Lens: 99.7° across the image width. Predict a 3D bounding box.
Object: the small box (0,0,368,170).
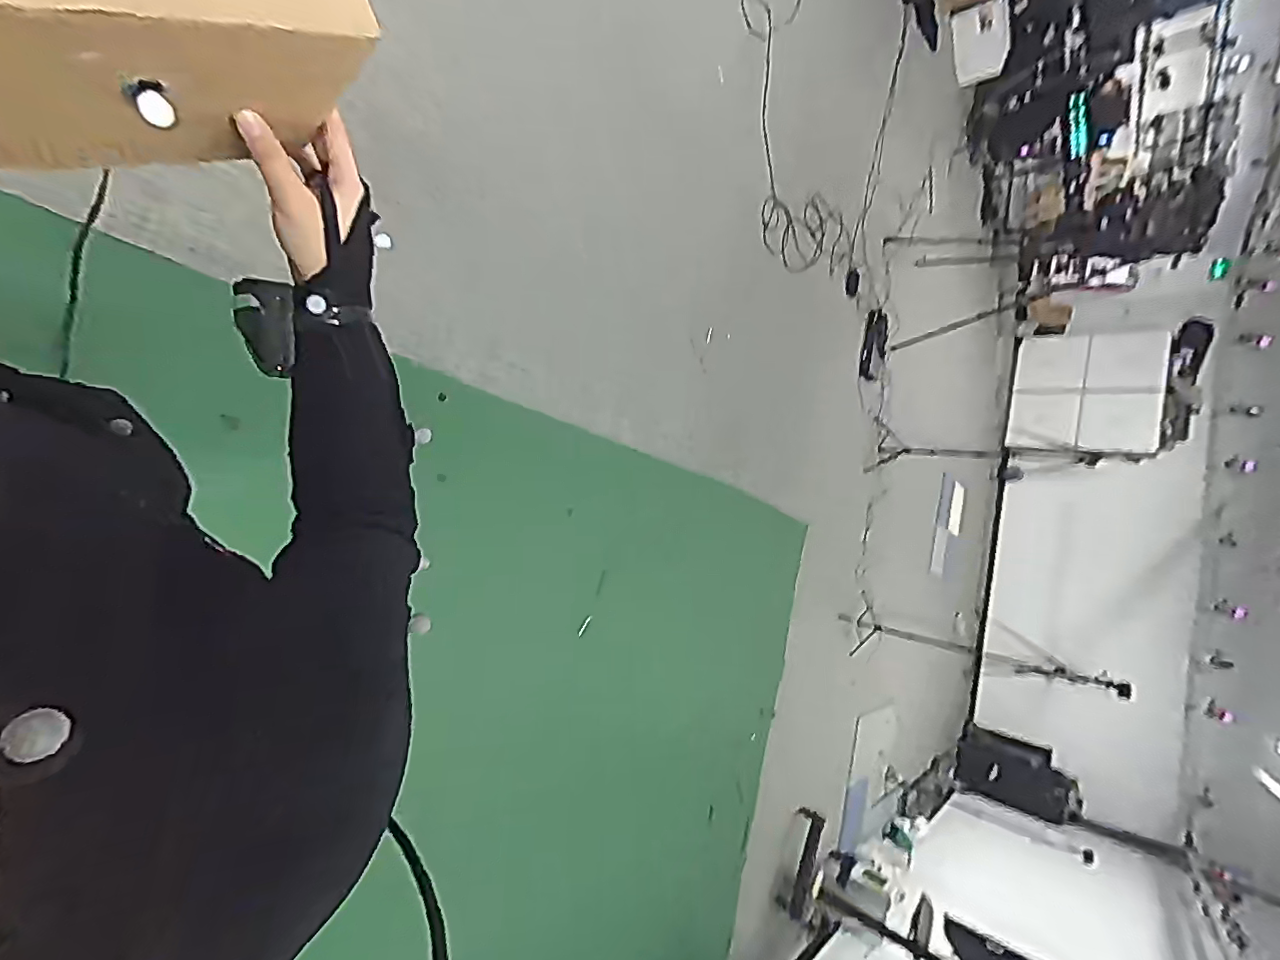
[{"bbox_3d":[-0.283,-0.279,0.276,0.179,0.176,0.168,-34,116,-38],"label":"small box"}]
